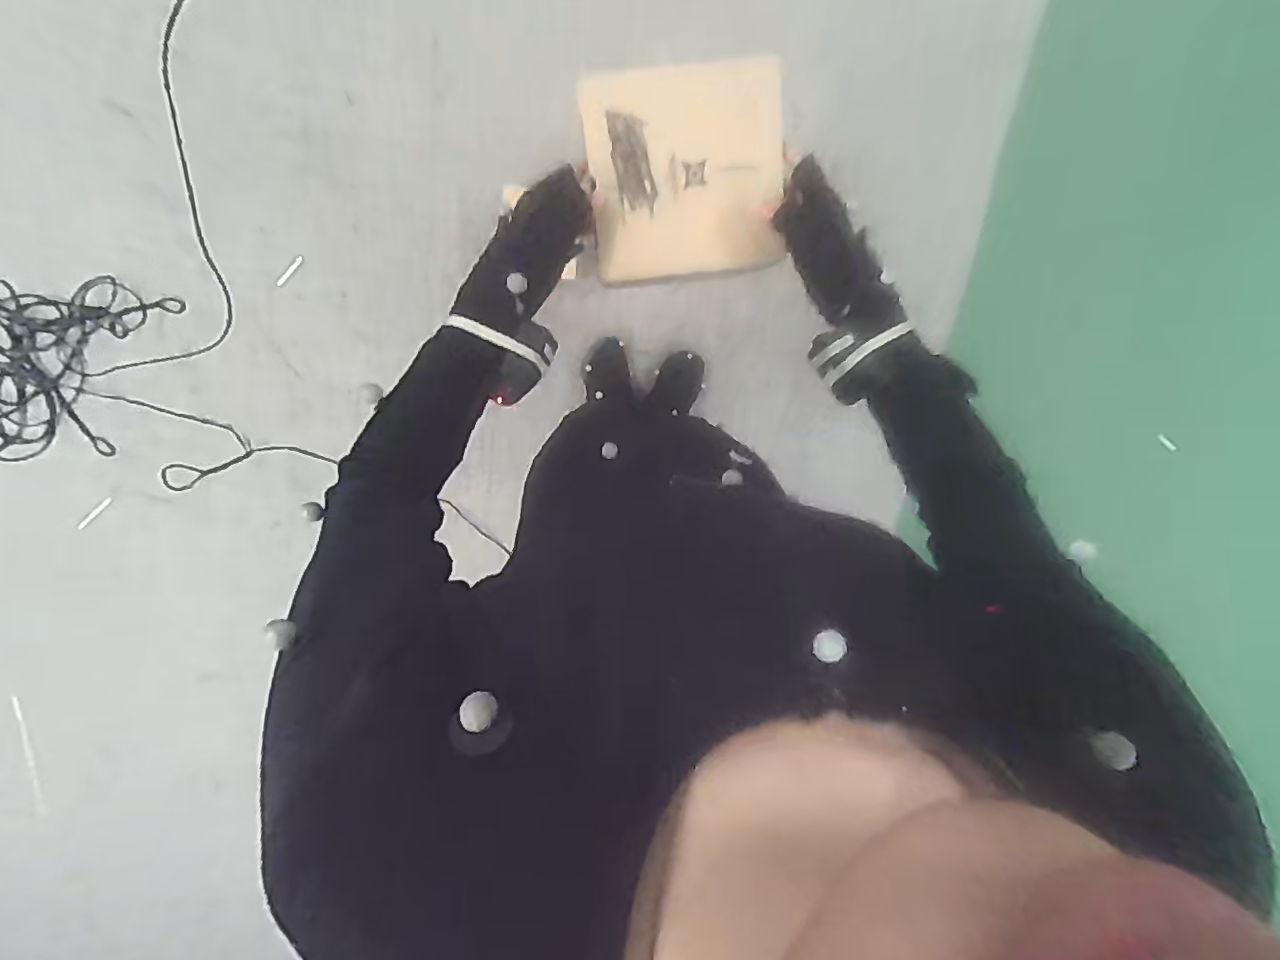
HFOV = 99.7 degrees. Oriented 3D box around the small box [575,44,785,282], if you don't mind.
[{"bbox_3d":[0.037,-0.298,0.546,0.179,0.176,0.168,-6,107,0],"label":"small box"}]
